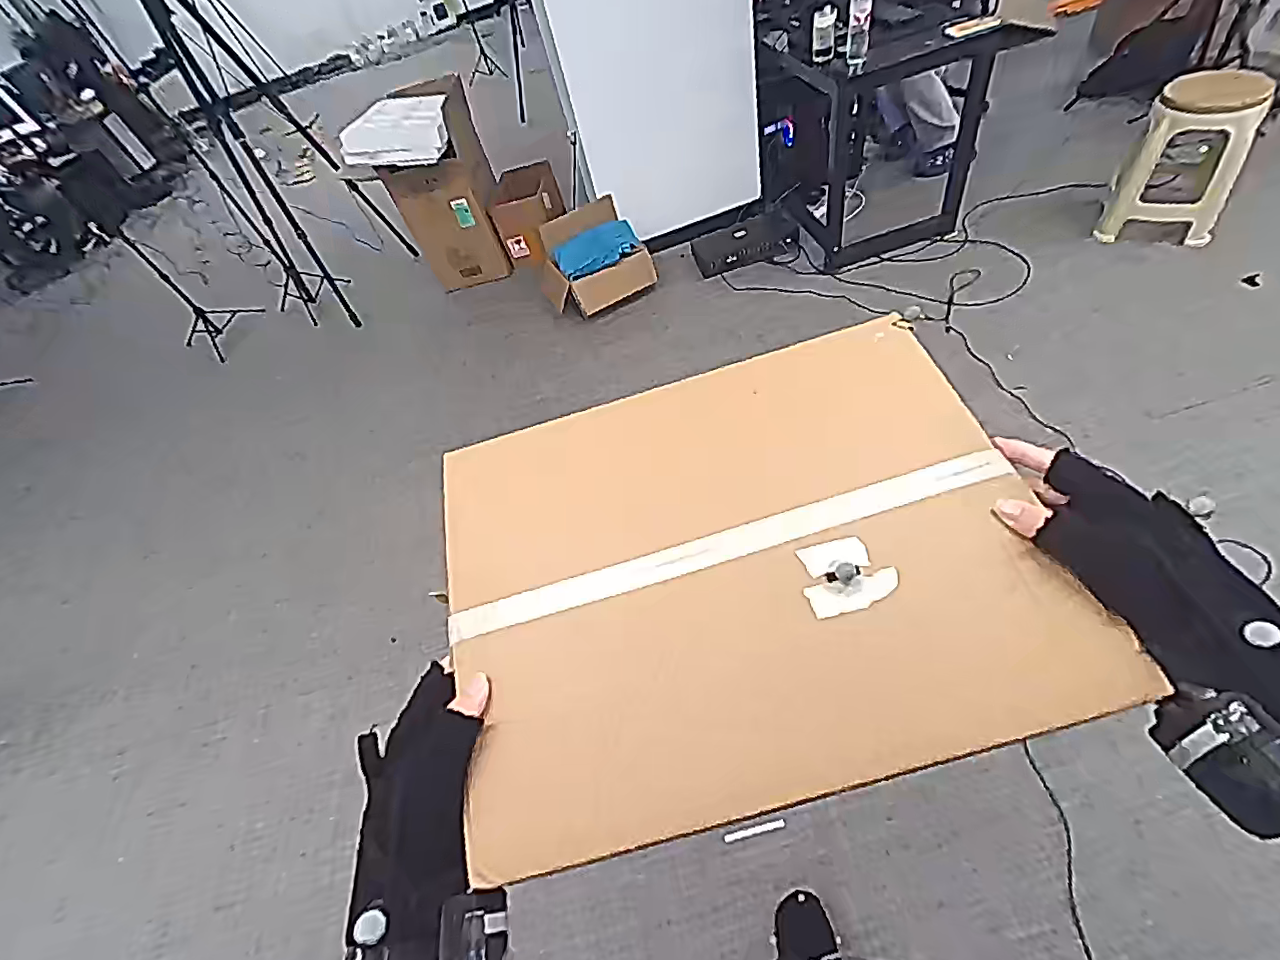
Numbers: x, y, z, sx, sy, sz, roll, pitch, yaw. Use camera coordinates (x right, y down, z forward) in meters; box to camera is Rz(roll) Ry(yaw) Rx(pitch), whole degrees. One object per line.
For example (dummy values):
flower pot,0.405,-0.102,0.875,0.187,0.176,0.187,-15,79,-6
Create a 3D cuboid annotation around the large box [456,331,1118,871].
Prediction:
large box,0.085,0.126,0.526,0.408,0.320,0.320,-17,59,1
